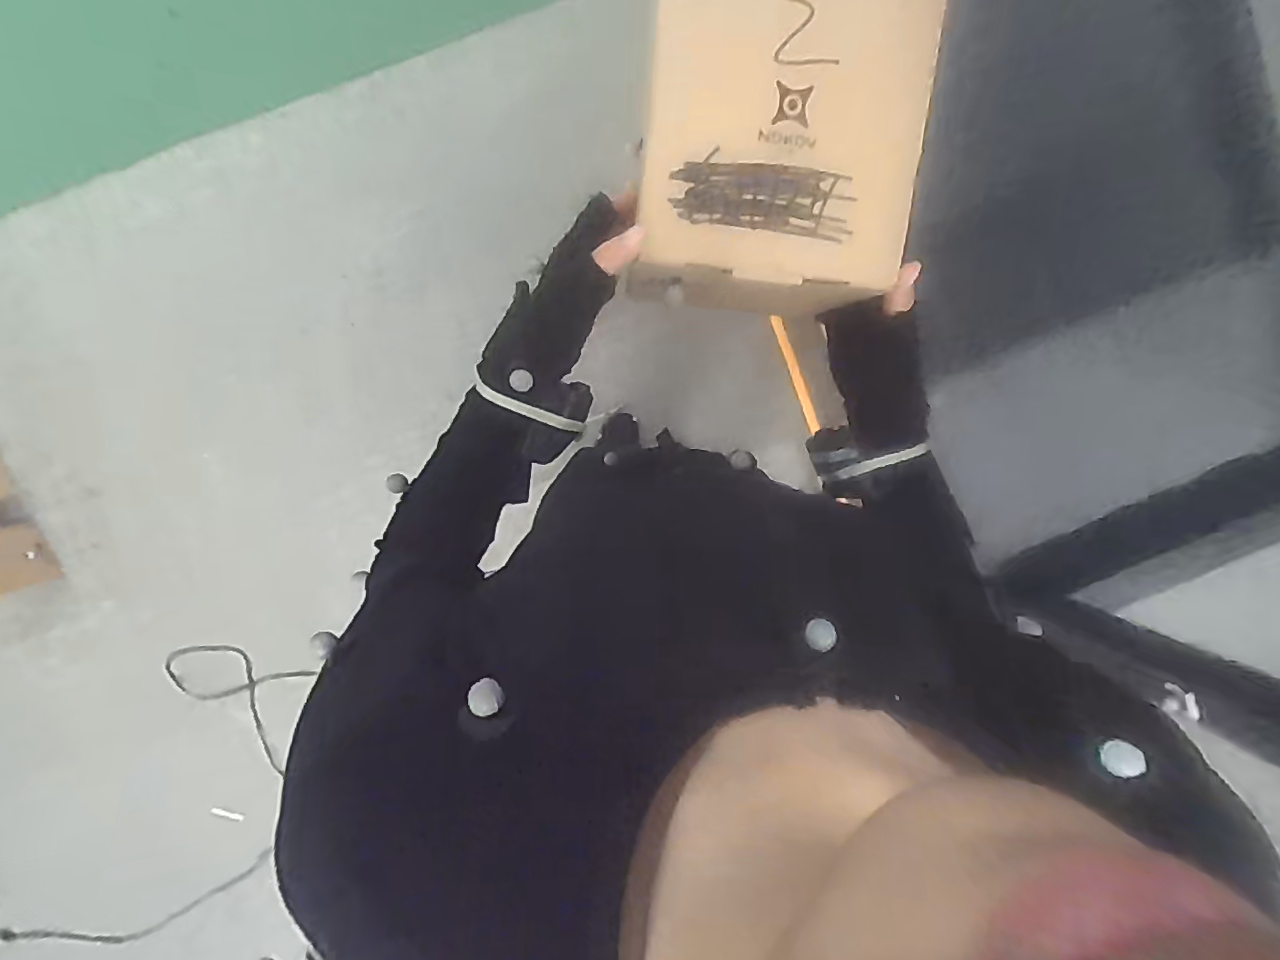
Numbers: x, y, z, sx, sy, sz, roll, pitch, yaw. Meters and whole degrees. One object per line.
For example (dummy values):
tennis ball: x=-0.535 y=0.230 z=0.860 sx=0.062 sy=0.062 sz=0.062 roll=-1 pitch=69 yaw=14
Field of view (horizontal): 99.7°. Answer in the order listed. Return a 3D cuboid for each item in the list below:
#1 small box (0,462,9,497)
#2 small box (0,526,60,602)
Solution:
small box: x=-1.736 y=-0.009 z=1.330 sx=0.179 sy=0.176 sz=0.168 roll=-21 pitch=95 yaw=1
small box: x=-1.642 y=0.227 z=1.351 sx=0.179 sy=0.176 sz=0.168 roll=-21 pitch=96 yaw=-1
